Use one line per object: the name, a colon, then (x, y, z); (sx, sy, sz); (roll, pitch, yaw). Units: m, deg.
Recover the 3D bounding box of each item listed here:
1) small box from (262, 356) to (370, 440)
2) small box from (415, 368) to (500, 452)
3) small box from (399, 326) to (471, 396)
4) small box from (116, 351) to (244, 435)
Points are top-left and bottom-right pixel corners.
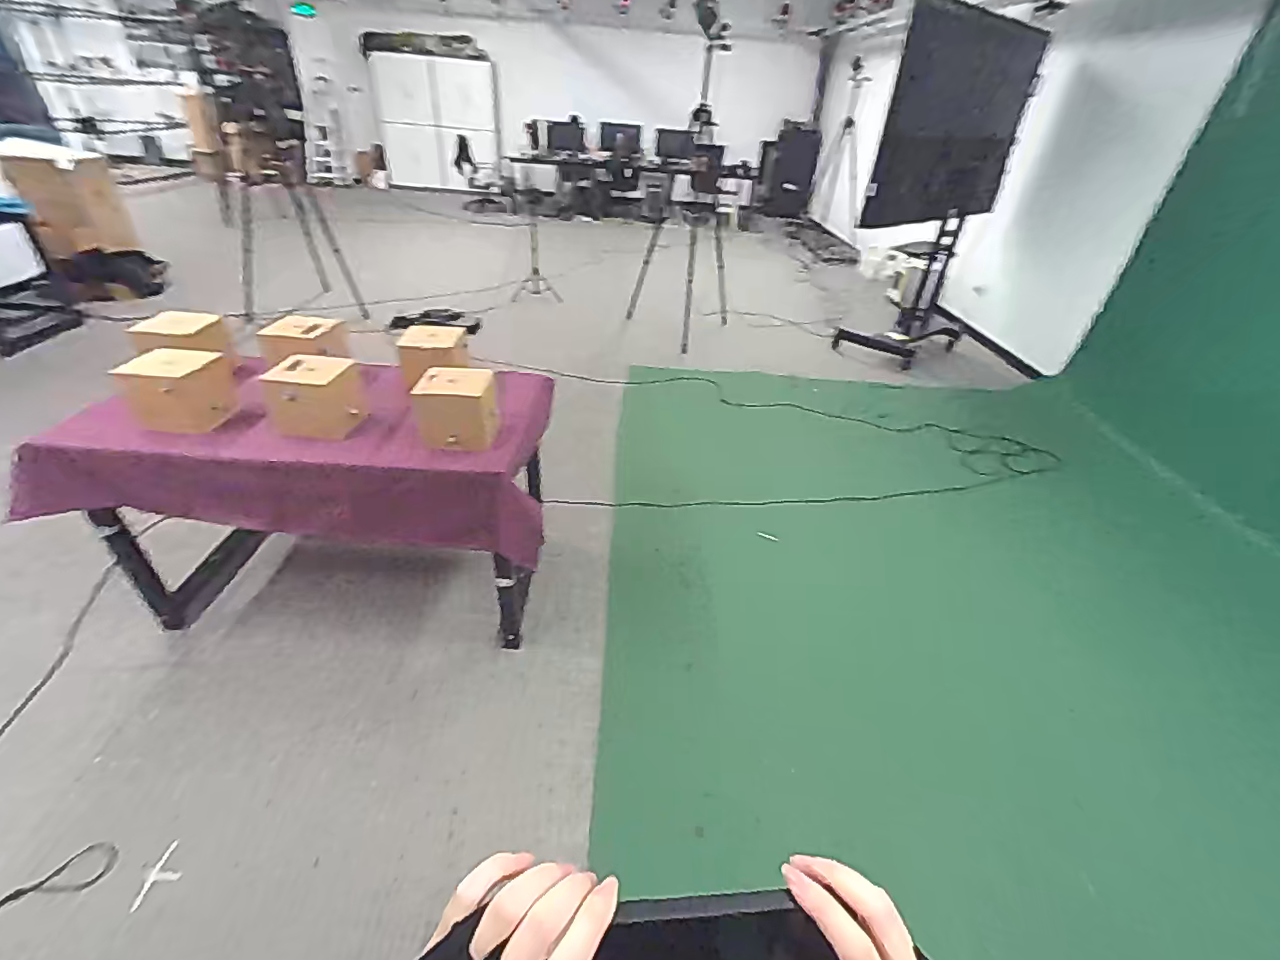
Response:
small box: (-0.875, -0.224, 1.479); (0.179, 0.176, 0.168); (6, 35, 1)
small box: (-0.486, -0.189, 1.471); (0.179, 0.176, 0.168); (3, 34, -2)
small box: (-0.642, -0.374, 1.717); (0.168, 0.176, 0.179); (1, 35, -3)
small box: (-1.227, -0.235, 1.459); (0.179, 0.176, 0.168); (5, 35, -1)
